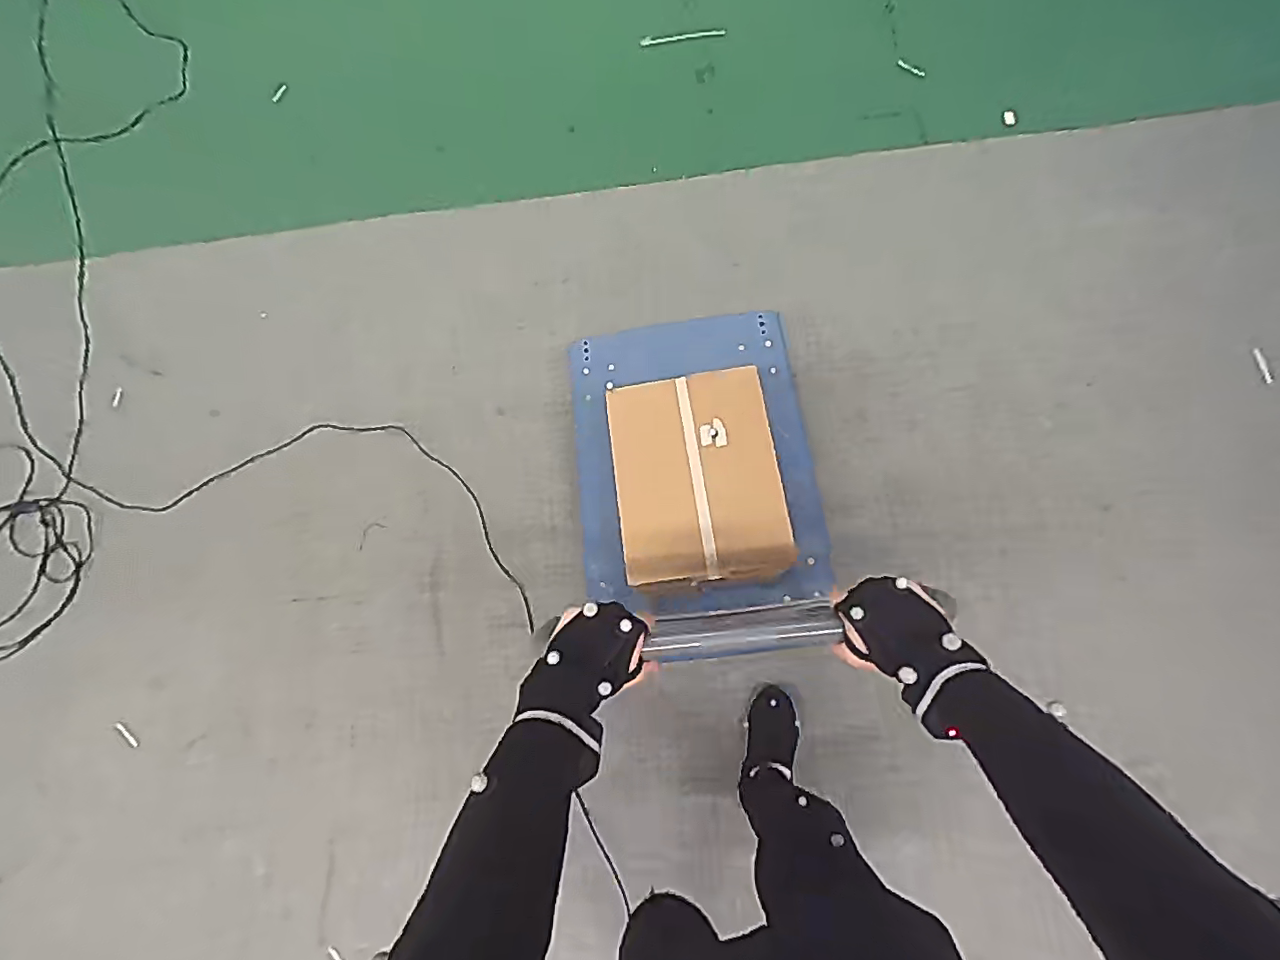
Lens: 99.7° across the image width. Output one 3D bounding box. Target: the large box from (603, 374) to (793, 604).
[{"bbox_3d":[0.119,0.040,1.190,0.320,0.320,0.408,-9,72,3],"label":"large box"}]
